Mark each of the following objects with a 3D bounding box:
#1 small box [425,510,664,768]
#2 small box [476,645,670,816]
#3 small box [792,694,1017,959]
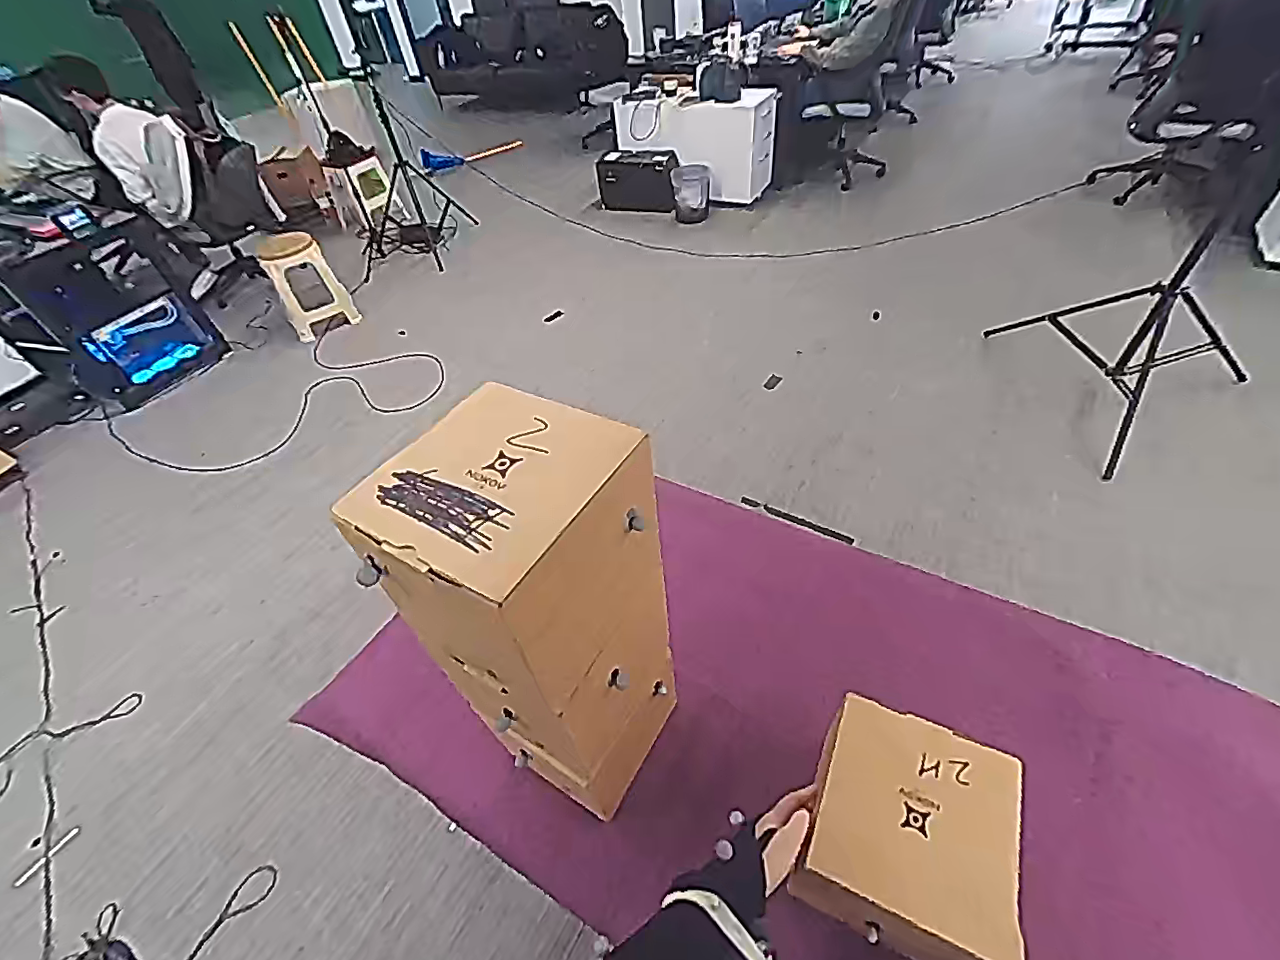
[{"bbox_3d":[-0.082,0.169,0.575,0.168,0.176,0.179,20,52,23],"label":"small box"},{"bbox_3d":[-0.069,0.286,0.689,0.168,0.176,0.179,21,52,25],"label":"small box"},{"bbox_3d":[0.266,0.368,0.567,0.168,0.176,0.179,17,51,22],"label":"small box"}]
